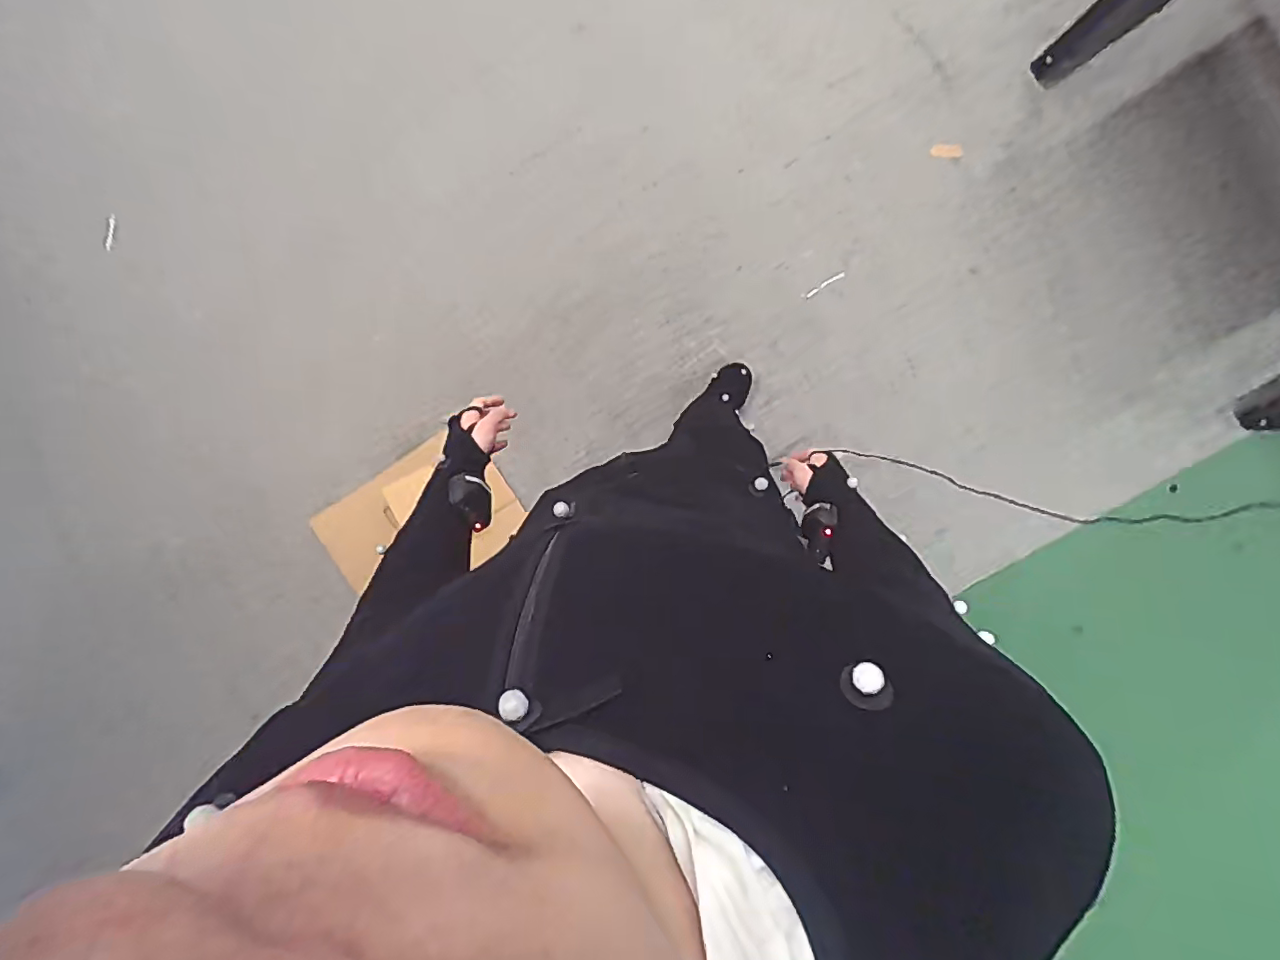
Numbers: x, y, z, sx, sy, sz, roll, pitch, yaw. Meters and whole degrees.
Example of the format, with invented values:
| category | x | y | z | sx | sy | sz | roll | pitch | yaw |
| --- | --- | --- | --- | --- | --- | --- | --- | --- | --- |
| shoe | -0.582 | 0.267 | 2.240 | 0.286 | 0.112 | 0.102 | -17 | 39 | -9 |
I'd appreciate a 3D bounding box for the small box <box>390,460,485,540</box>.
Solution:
| category | x | y | z | sx | sy | sz | roll | pitch | yaw |
| --- | --- | --- | --- | --- | --- | --- | --- | --- | --- |
| small box | -0.588 | 0.051 | 1.593 | 0.168 | 0.176 | 0.179 | -26 | 95 | 7 |
